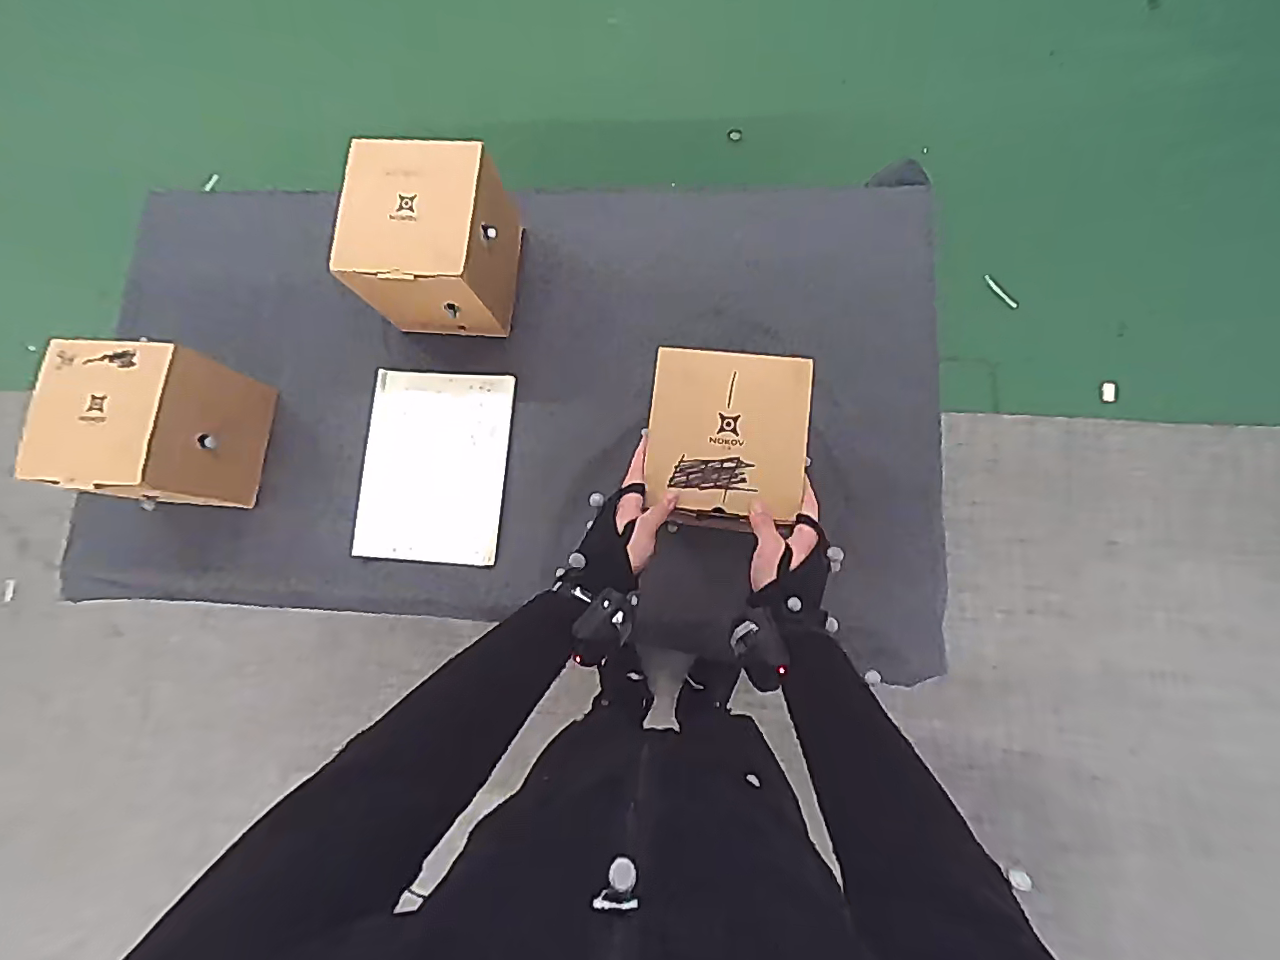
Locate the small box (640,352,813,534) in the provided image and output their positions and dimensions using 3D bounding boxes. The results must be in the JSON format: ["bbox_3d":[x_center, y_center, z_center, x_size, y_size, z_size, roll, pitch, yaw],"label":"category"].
[{"bbox_3d":[0.098,-0.033,0.642,0.168,0.176,0.179,6,82,6],"label":"small box"}]

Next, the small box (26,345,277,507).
[{"bbox_3d":[-0.619,-0.061,0.711,0.168,0.176,0.179,4,81,5],"label":"small box"}]

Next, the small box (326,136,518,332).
[{"bbox_3d":[-0.267,-0.307,0.702,0.168,0.176,0.179,4,81,5],"label":"small box"}]
